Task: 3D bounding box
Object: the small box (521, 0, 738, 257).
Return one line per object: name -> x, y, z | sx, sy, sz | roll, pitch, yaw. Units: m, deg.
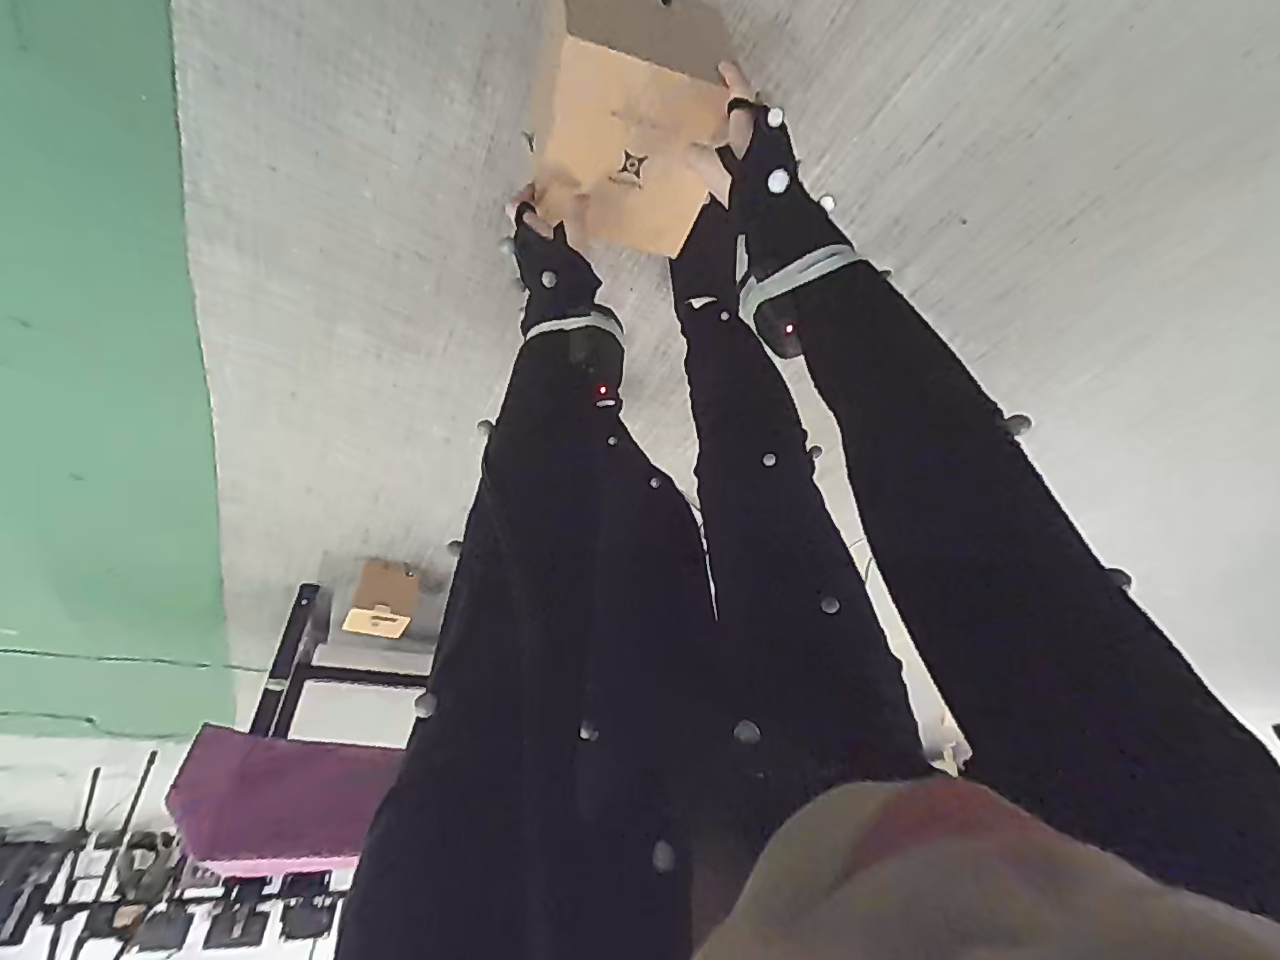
small box -> -0.024, -0.367, 0.549 | 0.168, 0.176, 0.179 | 3, 152, -21
